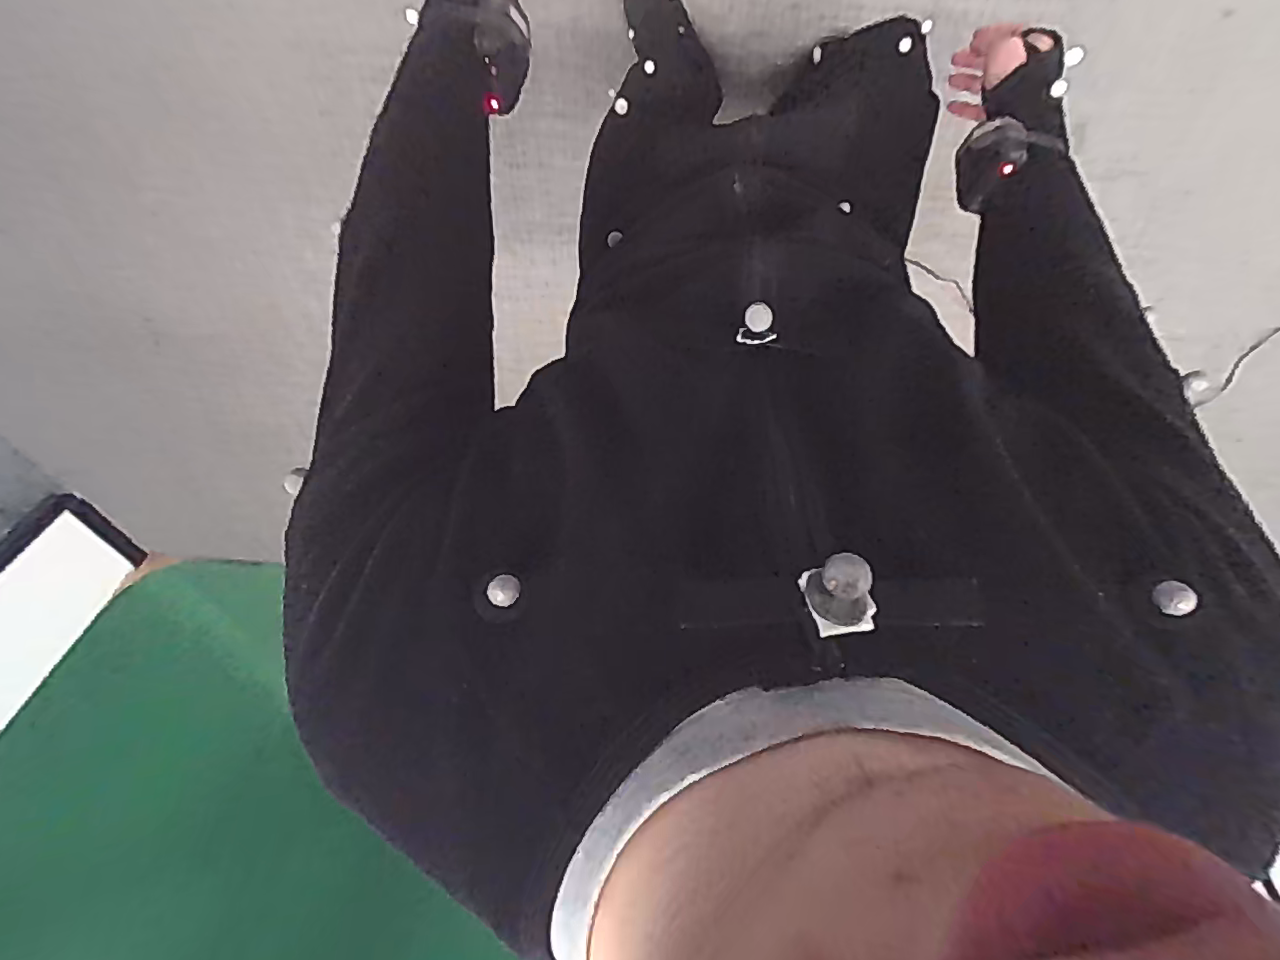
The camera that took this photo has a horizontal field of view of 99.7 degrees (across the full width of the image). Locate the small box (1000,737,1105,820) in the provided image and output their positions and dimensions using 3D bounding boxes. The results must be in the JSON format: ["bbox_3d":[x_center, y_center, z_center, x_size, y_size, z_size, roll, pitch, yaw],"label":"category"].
[{"bbox_3d":[1.214,0.890,1.614,0.168,0.176,0.179,4,136,3],"label":"small box"}]
